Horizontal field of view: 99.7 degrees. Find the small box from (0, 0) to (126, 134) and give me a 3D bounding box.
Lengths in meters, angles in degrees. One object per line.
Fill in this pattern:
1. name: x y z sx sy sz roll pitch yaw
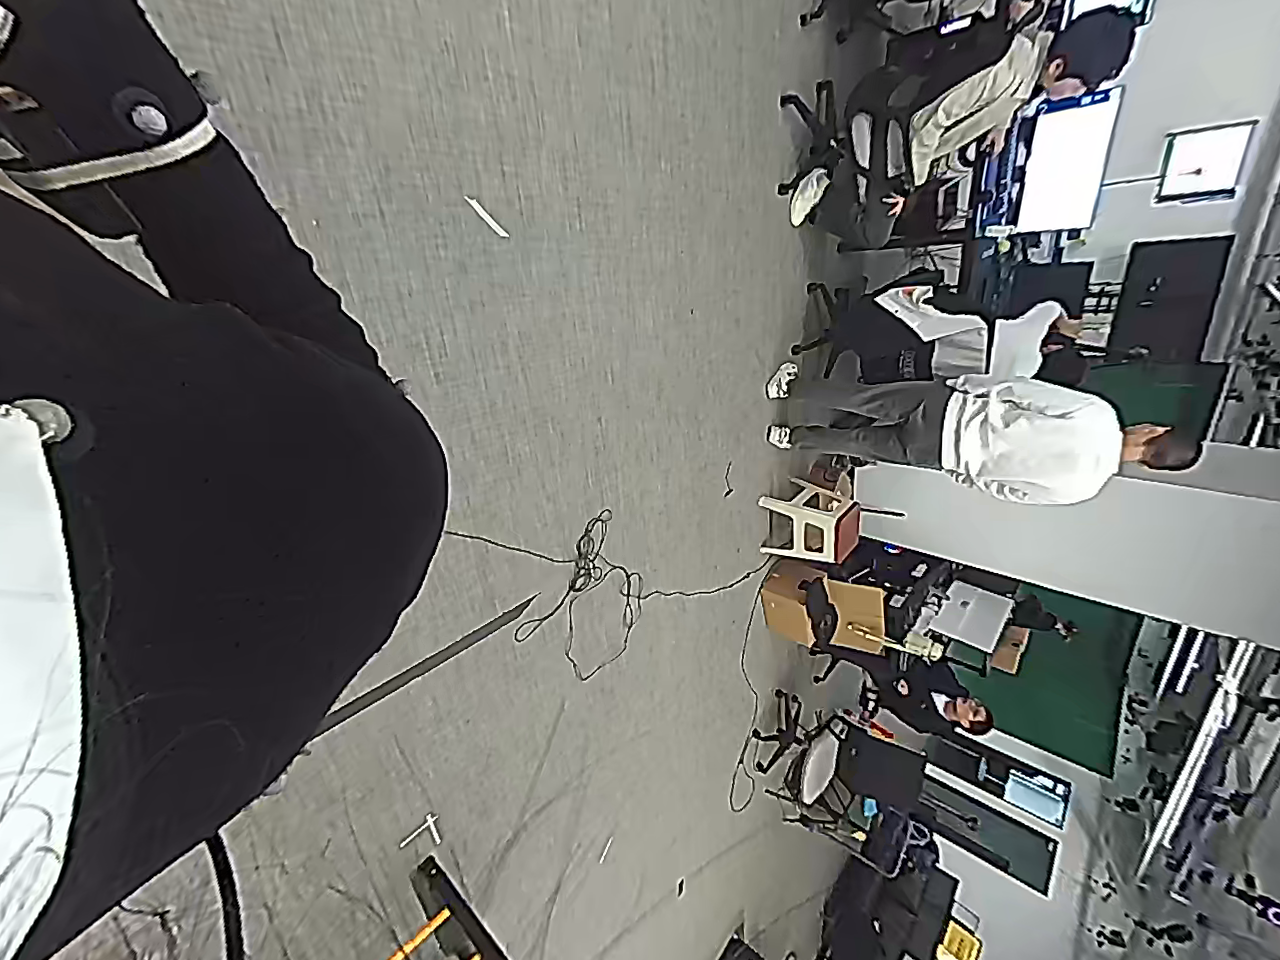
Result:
1. small box: -0.700 -0.476 0.566 0.179 0.176 0.168 -29 123 -42
